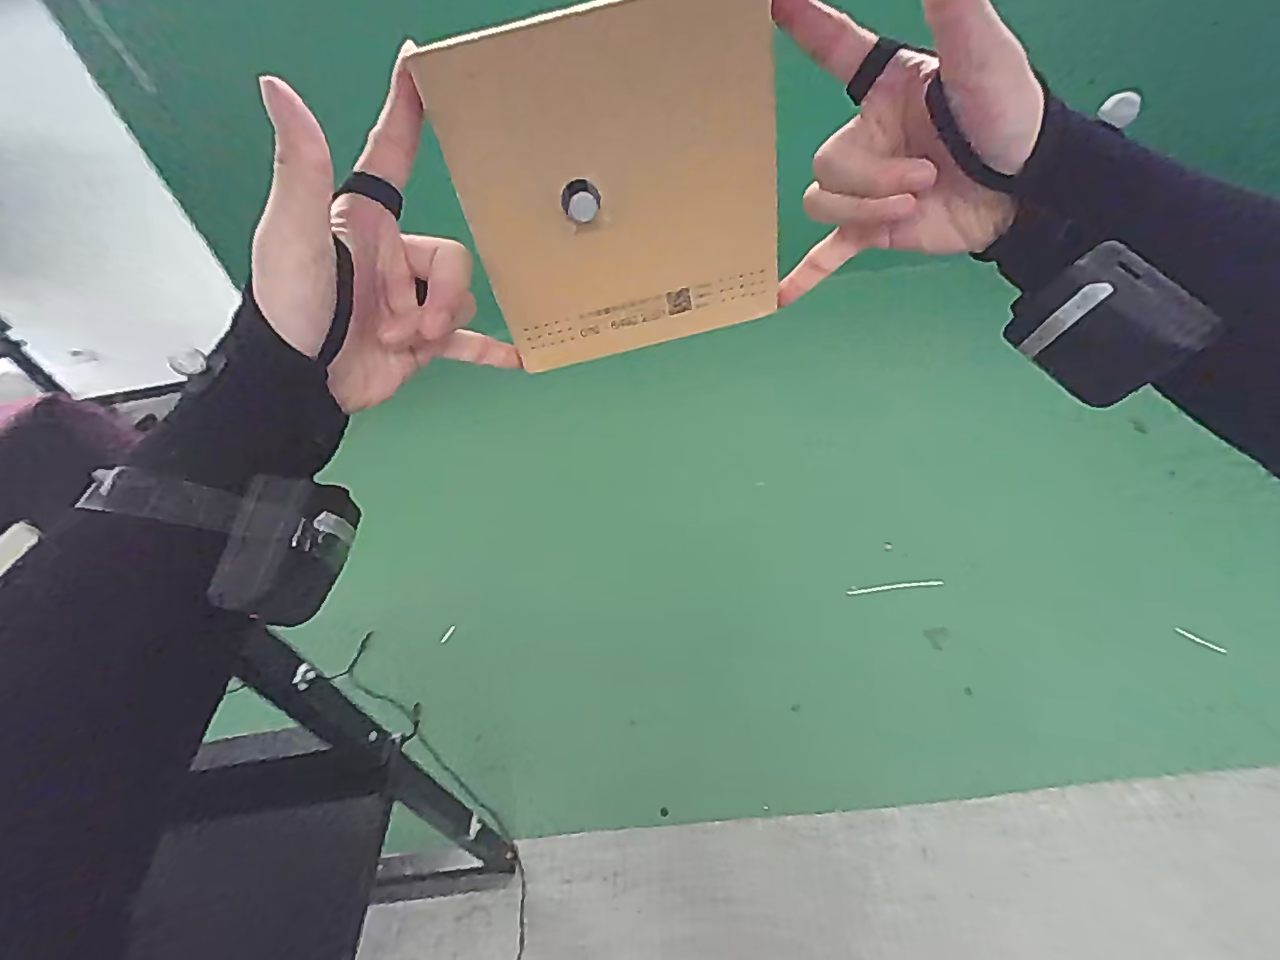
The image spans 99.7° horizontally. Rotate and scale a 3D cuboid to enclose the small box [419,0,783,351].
[{"bbox_3d":[-0.012,-0.198,0.347,0.168,0.176,0.179,-13,41,2],"label":"small box"}]
